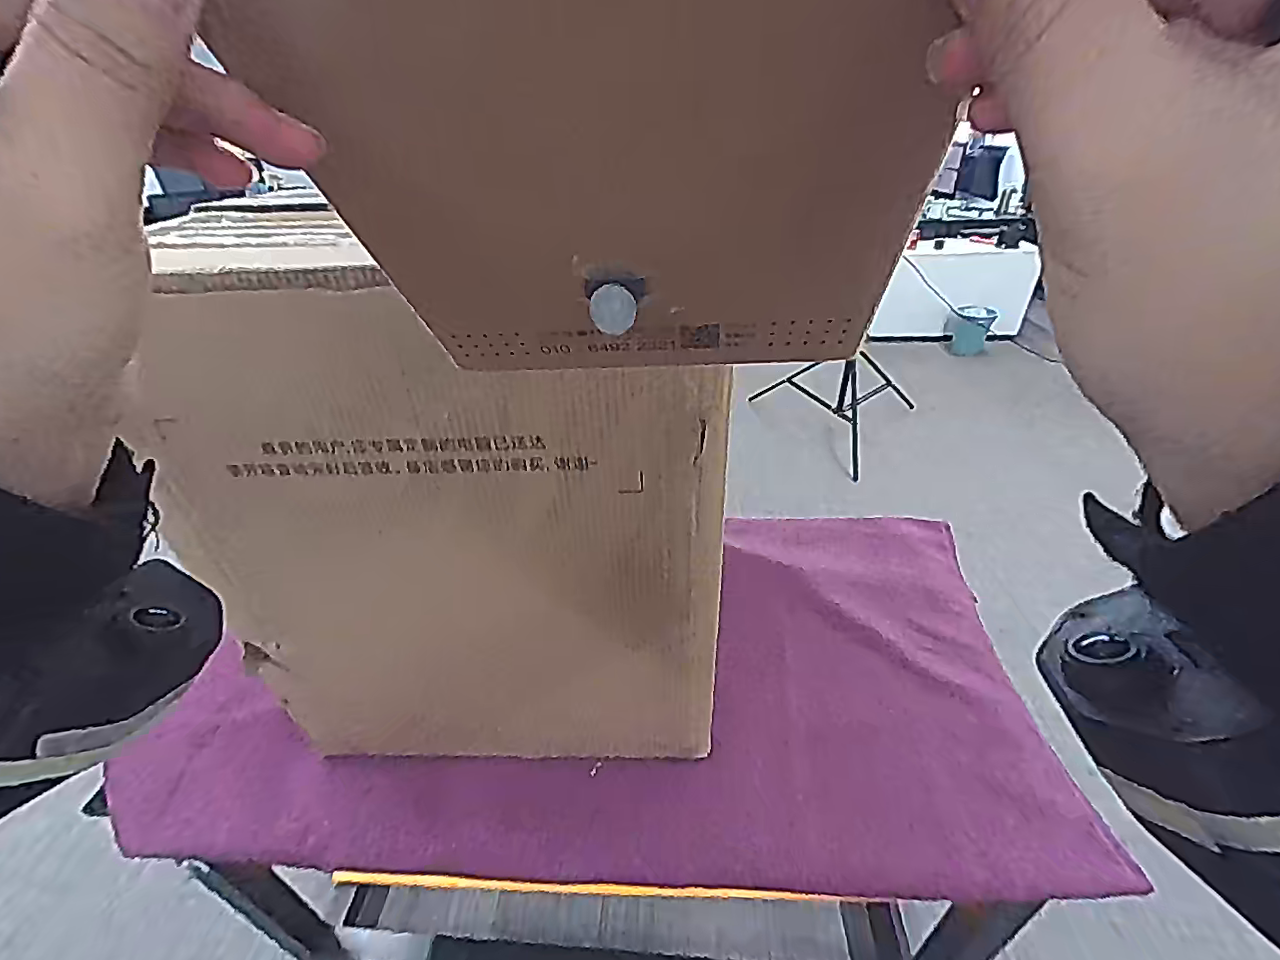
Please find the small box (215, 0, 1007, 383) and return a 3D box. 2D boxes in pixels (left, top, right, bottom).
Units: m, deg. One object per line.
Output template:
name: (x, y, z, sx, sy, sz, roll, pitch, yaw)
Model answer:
small box: (-0.002, -0.152, 0.187, 0.168, 0.176, 0.179, 0, 70, 8)
